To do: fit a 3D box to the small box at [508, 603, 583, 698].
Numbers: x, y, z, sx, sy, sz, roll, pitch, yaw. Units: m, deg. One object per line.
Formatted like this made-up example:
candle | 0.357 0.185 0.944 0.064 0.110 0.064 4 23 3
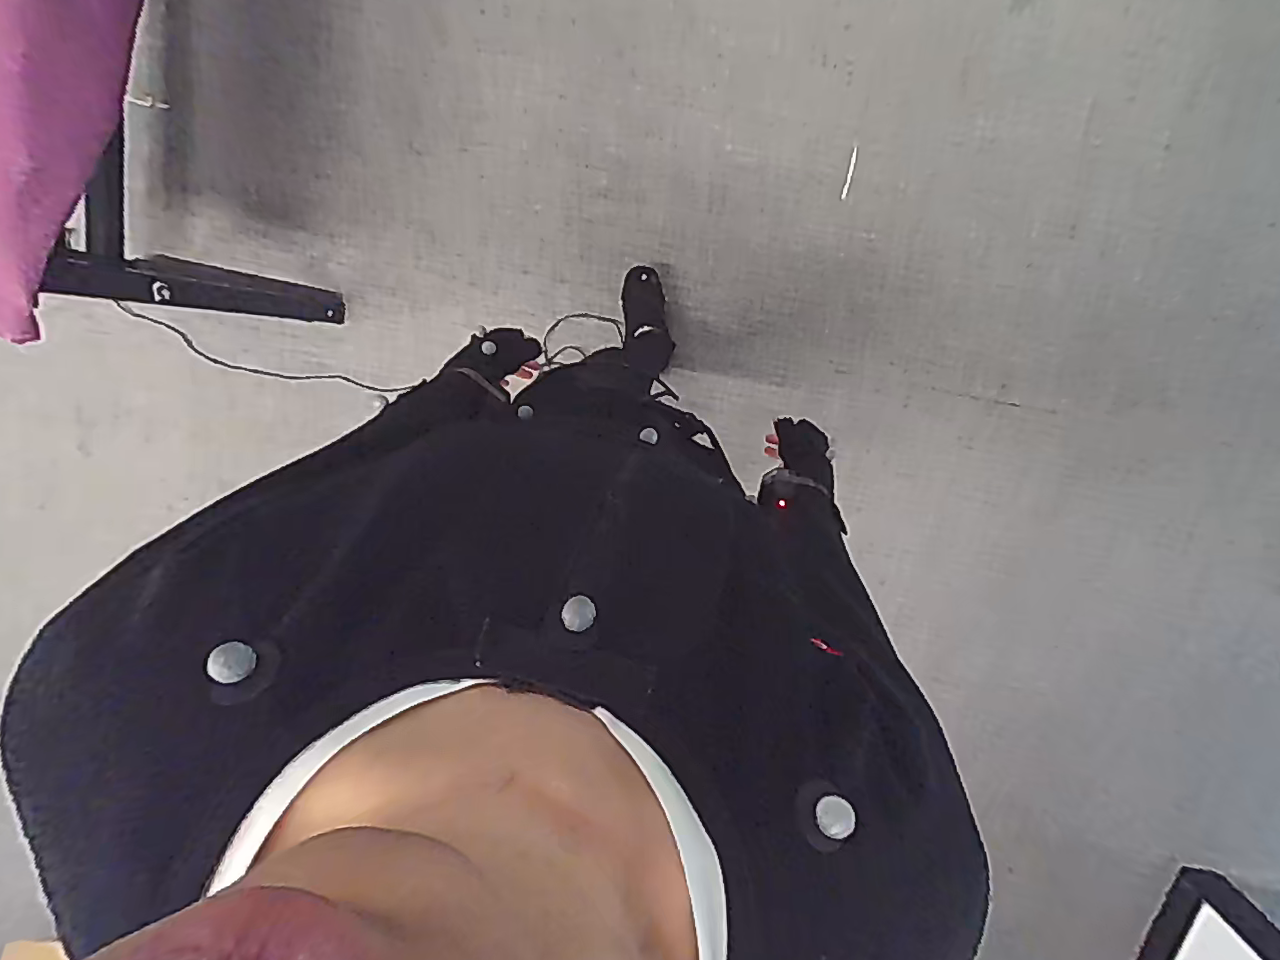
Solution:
small box | -0.260 0.472 1.514 0.168 0.176 0.179 9 104 2
